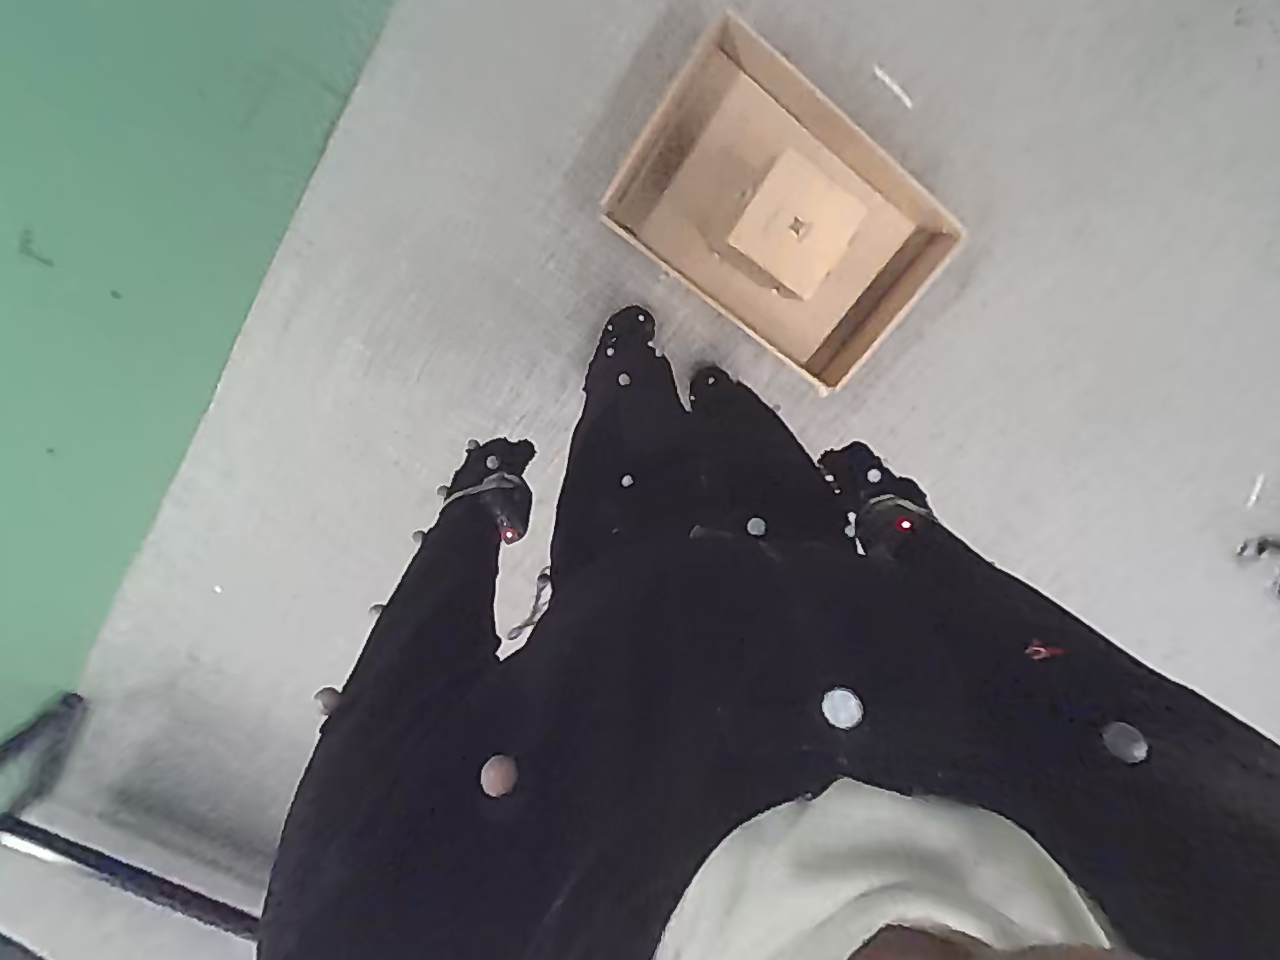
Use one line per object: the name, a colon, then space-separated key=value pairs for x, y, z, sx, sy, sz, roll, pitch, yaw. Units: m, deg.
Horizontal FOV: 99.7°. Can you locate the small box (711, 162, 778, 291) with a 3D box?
small box: x=0.260 y=-0.504 z=1.106 sx=0.168 sy=0.176 sz=0.179 roll=34 pitch=107 yaw=-12

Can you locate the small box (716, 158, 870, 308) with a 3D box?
small box: x=0.255 y=-0.424 z=0.946 sx=0.179 sy=0.176 sz=0.168 roll=27 pitch=108 yaw=-11
